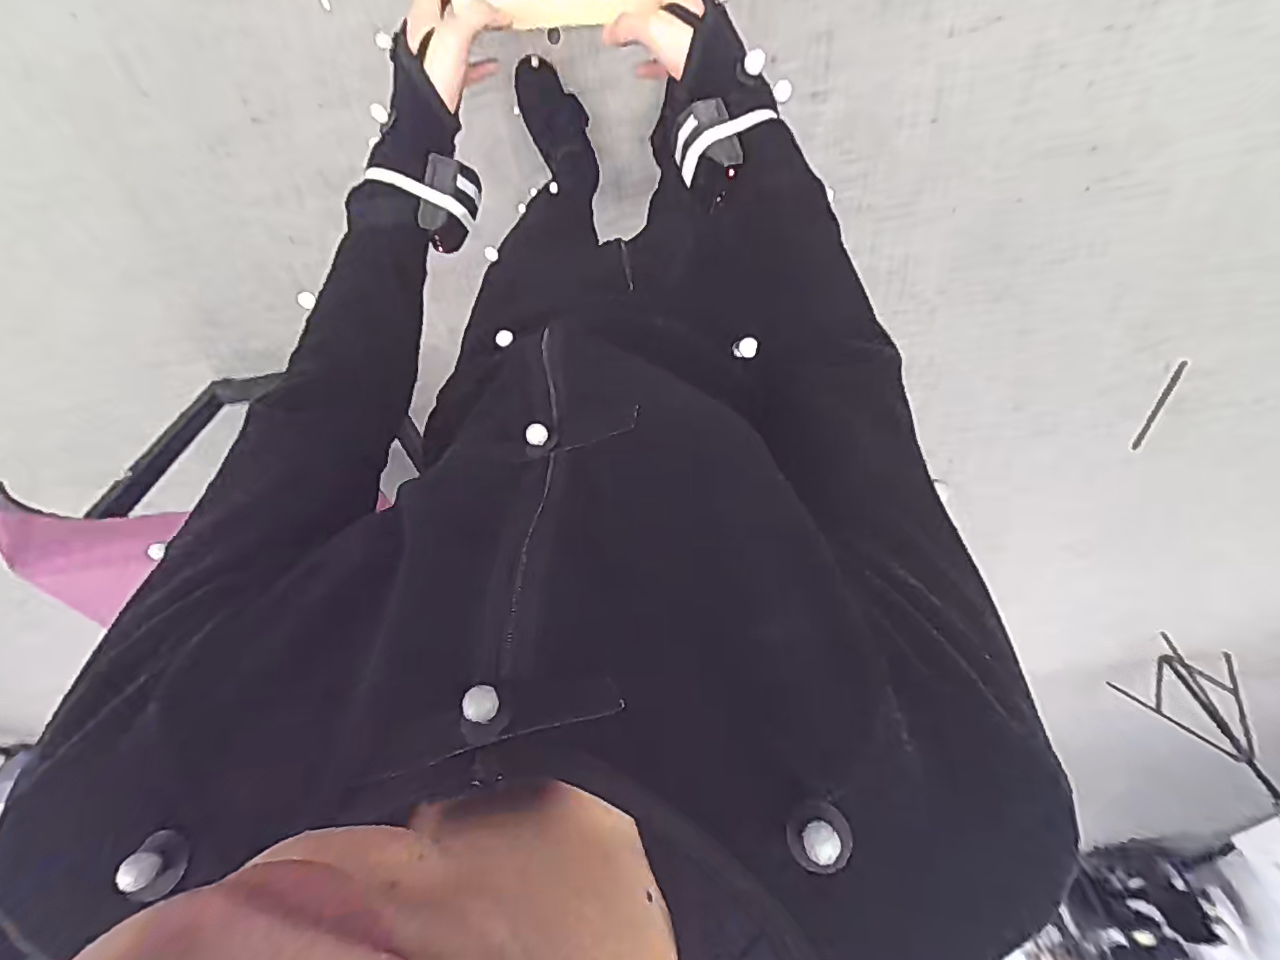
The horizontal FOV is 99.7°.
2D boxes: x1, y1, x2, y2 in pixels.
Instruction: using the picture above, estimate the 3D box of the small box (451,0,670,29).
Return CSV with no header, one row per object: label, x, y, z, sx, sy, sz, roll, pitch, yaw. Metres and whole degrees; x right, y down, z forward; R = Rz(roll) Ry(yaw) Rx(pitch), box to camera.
small box,-0.069,-0.483,0.444,0.179,0.176,0.168,-4,133,-1
